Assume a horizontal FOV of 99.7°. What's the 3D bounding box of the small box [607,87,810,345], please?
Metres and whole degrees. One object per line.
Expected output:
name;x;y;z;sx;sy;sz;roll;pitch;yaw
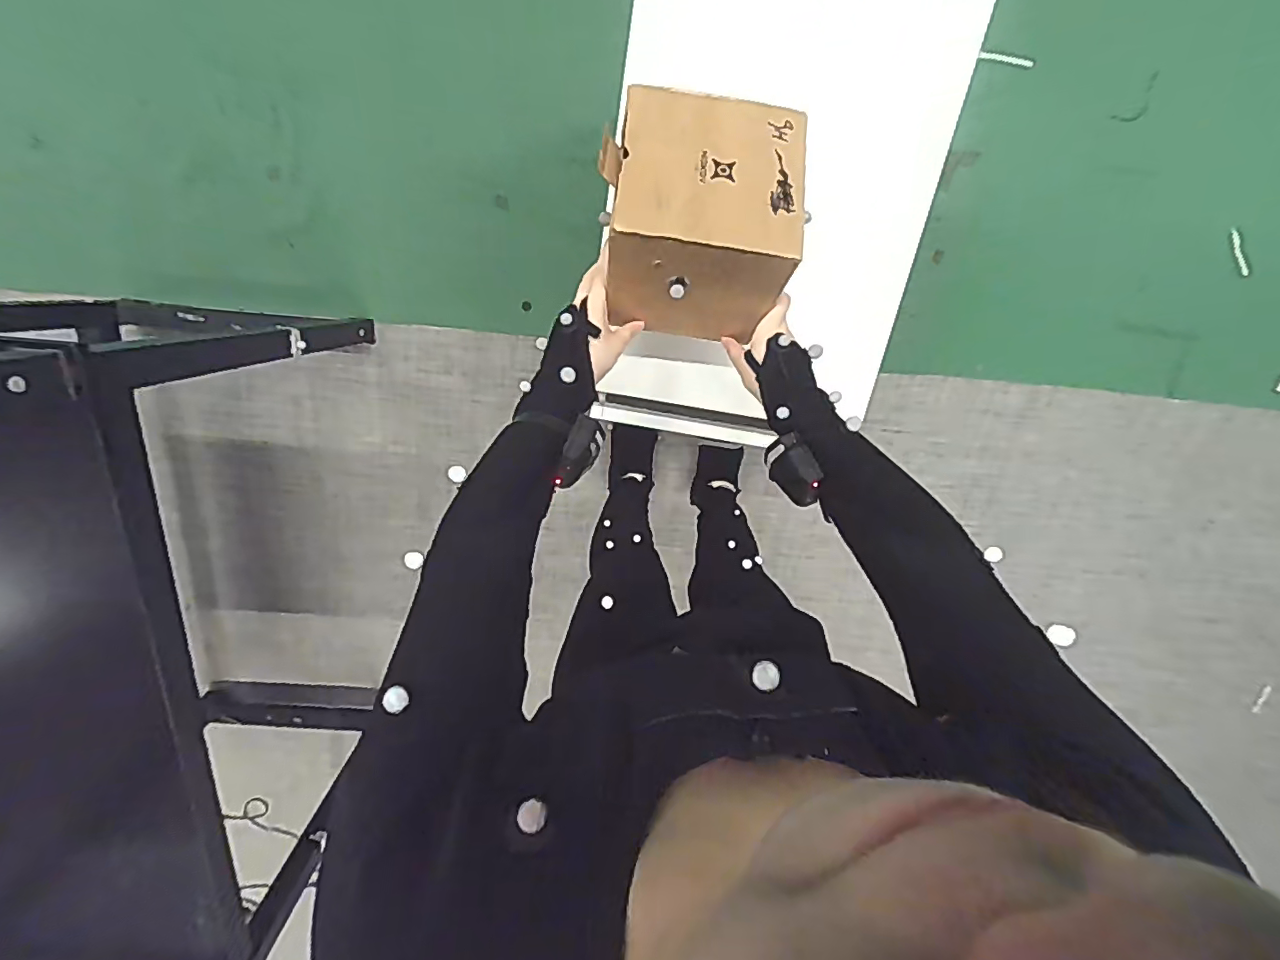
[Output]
small box;0.060;-0.258;0.563;0.179;0.176;0.168;7;77;-3
